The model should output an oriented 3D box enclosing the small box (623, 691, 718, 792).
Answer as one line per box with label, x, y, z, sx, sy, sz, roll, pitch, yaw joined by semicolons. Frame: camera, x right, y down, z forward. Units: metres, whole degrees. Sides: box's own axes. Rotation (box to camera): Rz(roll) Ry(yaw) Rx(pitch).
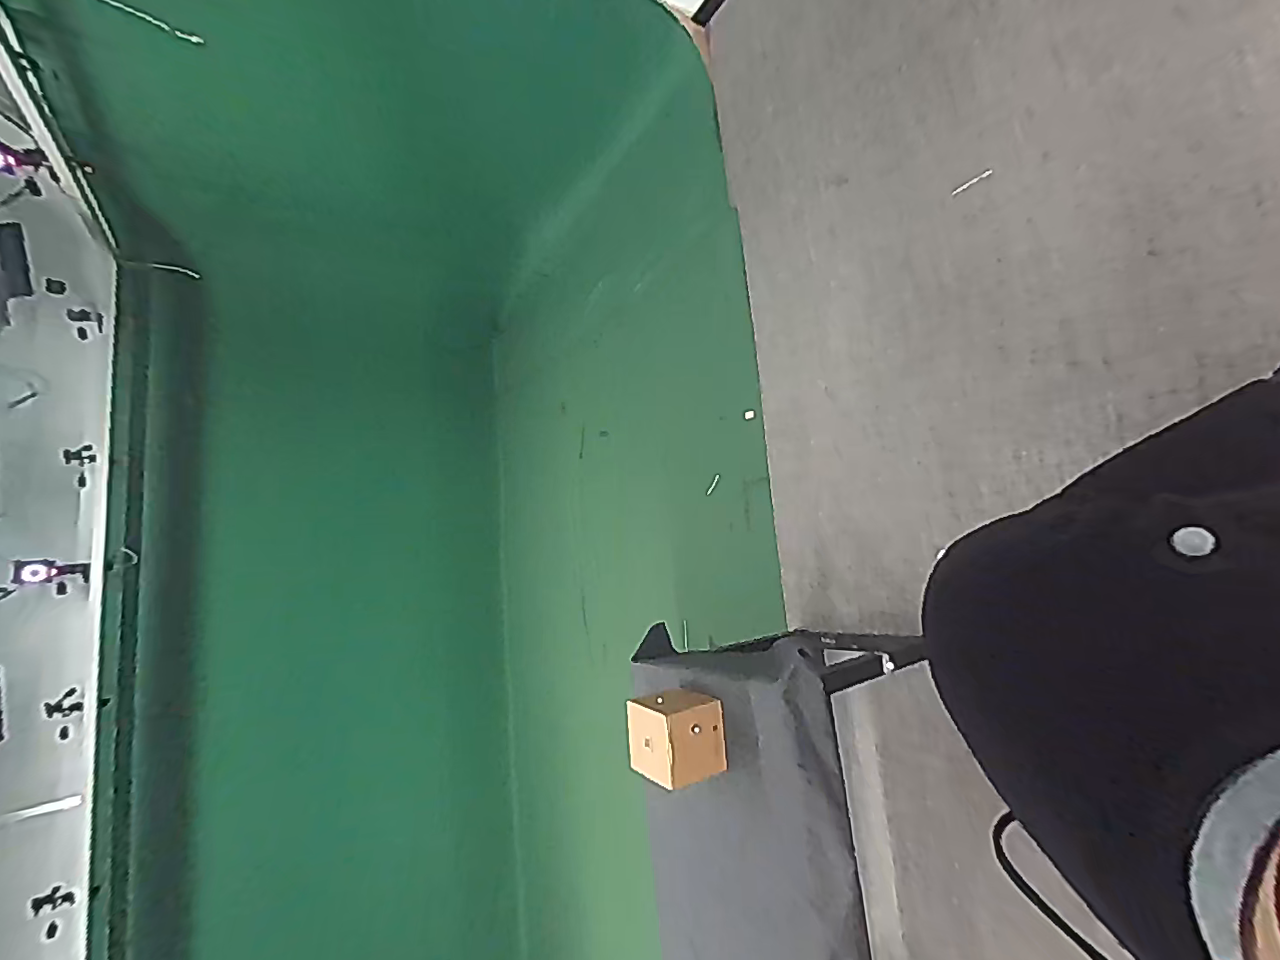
small box;0.078;0.628;1.325;0.179;0.176;0.168;-15;76;57
